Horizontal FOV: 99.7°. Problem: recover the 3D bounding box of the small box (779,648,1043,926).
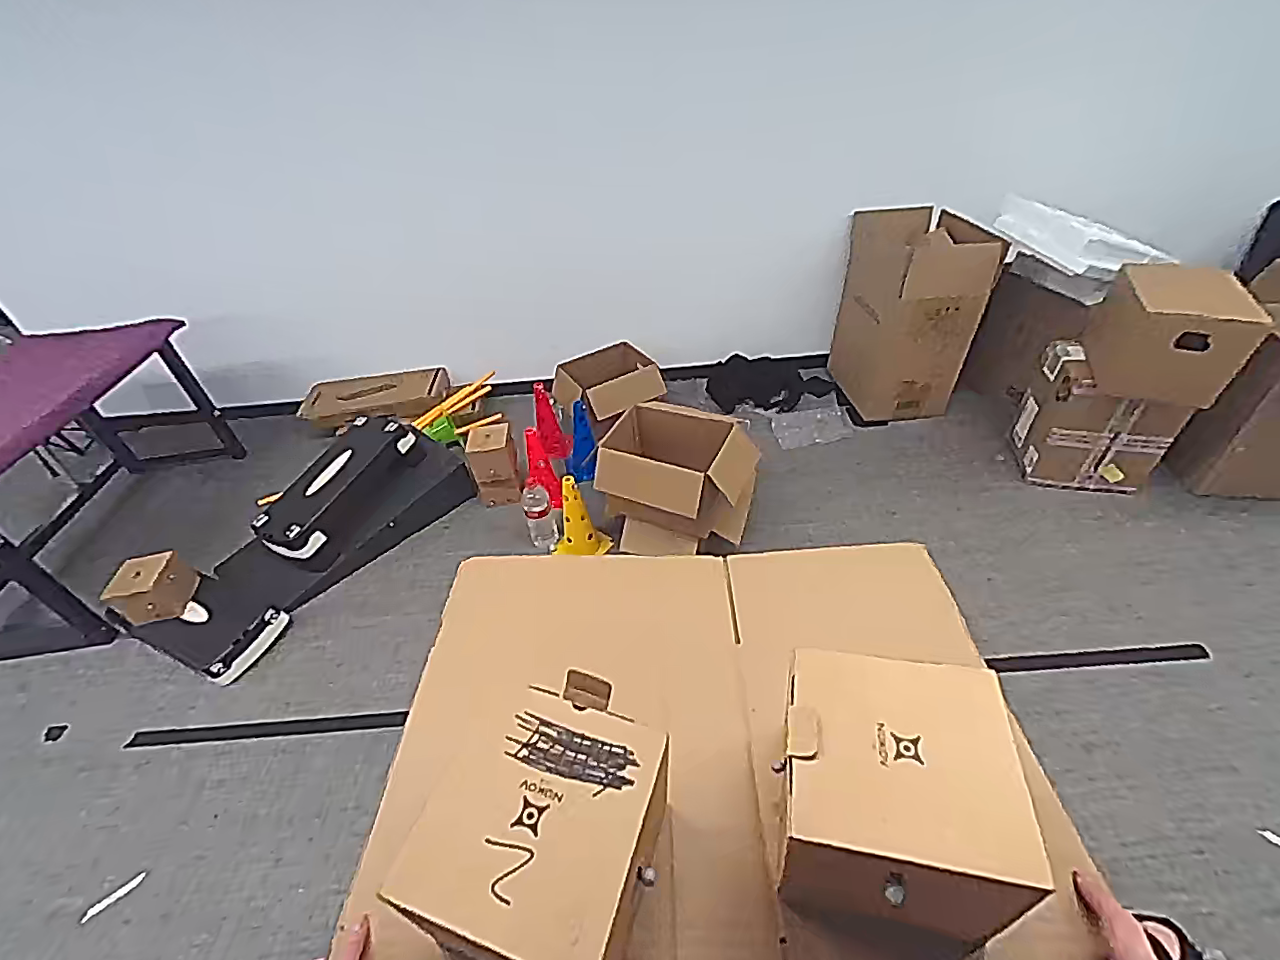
[{"bbox_3d":[0.226,0.284,0.504,0.179,0.176,0.168,2,41,15],"label":"small box"}]
